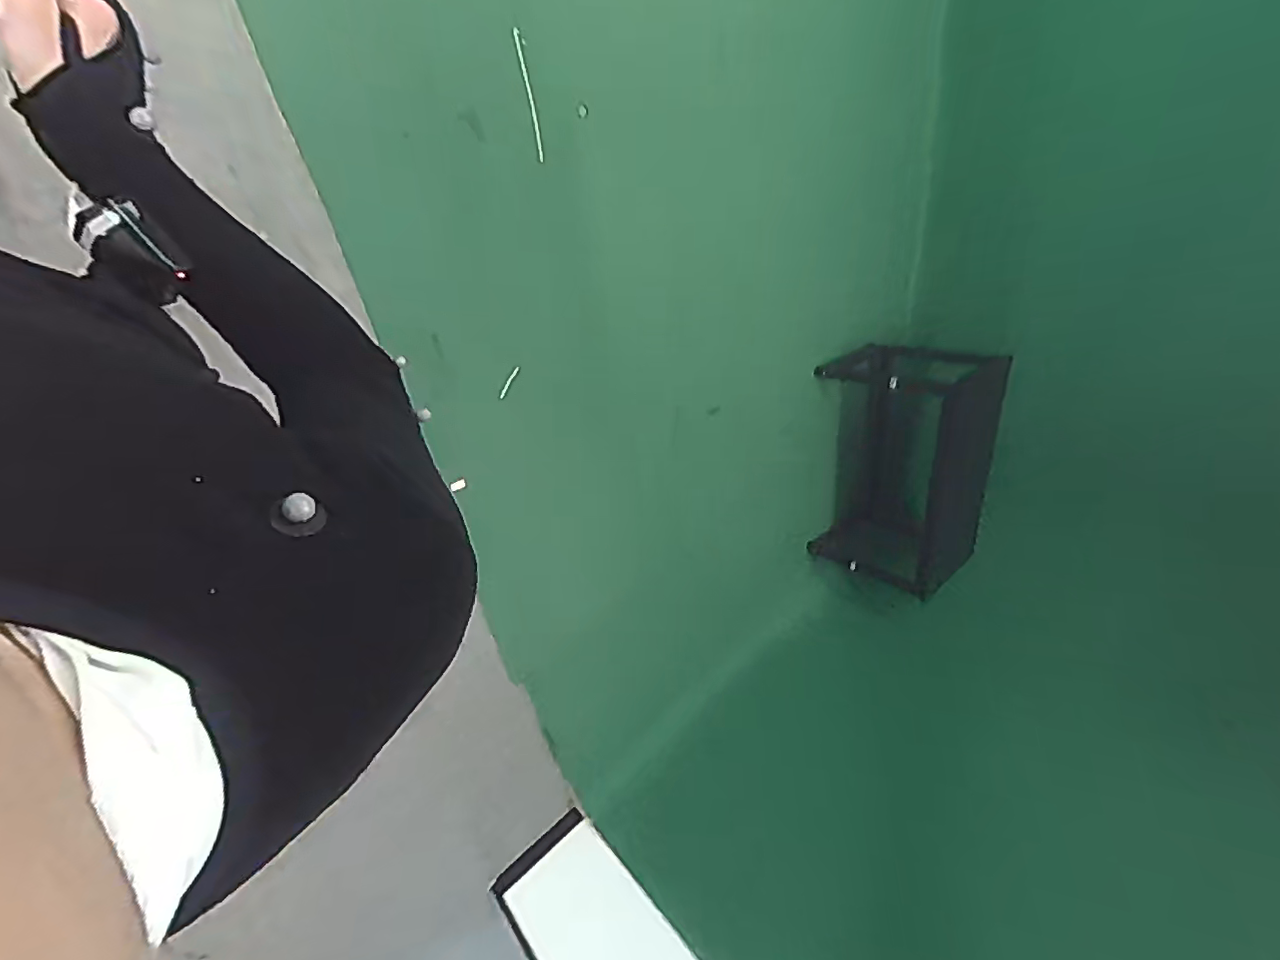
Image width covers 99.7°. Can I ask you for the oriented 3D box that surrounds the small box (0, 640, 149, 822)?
[{"bbox_3d":[-0.957,0.406,0.899,0.168,0.176,0.179,-26,123,-32],"label":"small box"}]
